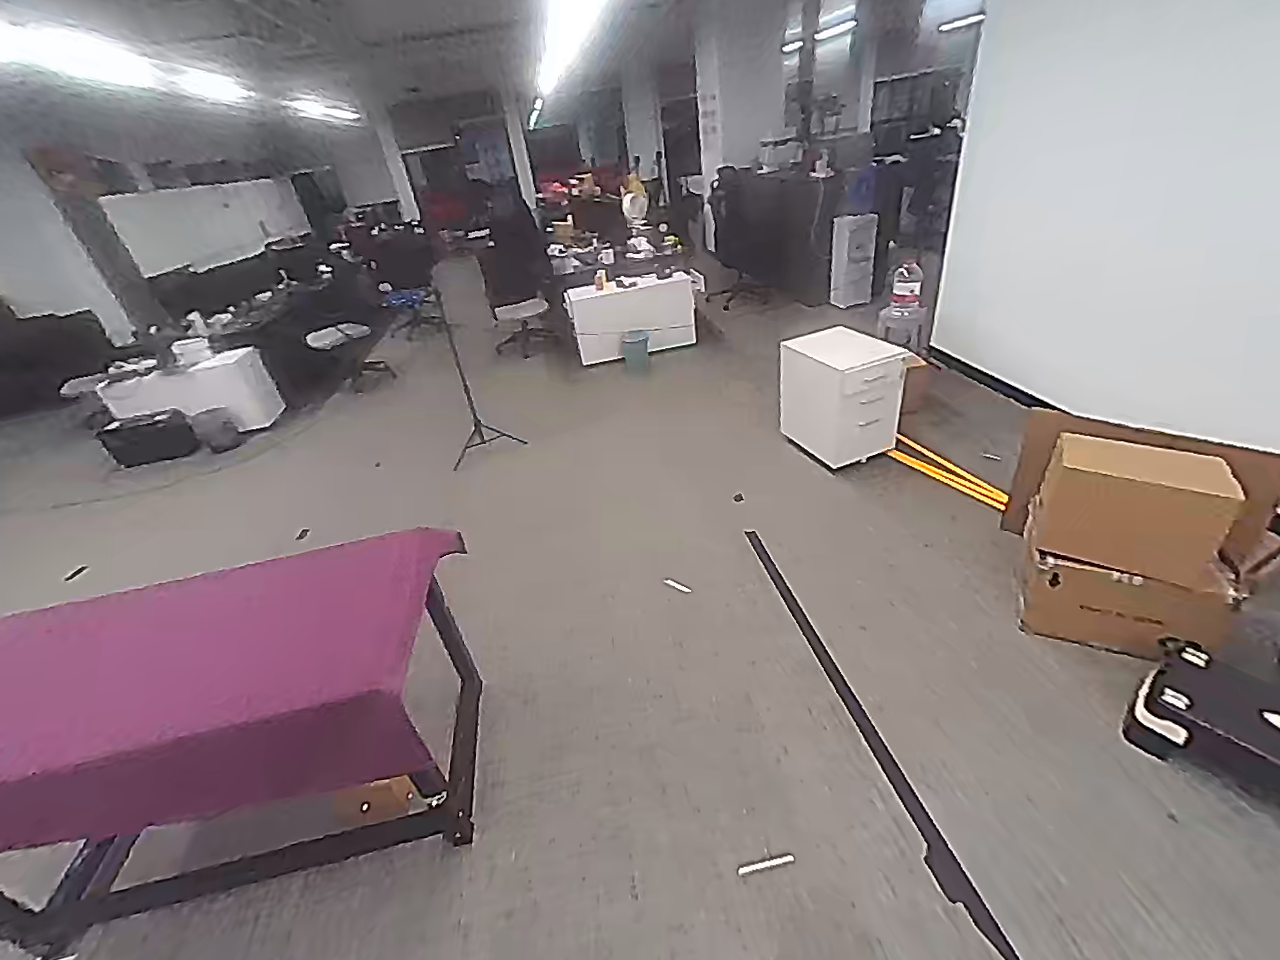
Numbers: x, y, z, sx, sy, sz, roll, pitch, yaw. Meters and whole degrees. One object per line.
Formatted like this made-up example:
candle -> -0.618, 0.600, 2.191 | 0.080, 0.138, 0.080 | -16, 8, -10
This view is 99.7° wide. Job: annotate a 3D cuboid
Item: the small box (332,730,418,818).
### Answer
small box -> -0.821, 0.925, 1.700 | 0.179, 0.176, 0.168 | -11, 32, -3
